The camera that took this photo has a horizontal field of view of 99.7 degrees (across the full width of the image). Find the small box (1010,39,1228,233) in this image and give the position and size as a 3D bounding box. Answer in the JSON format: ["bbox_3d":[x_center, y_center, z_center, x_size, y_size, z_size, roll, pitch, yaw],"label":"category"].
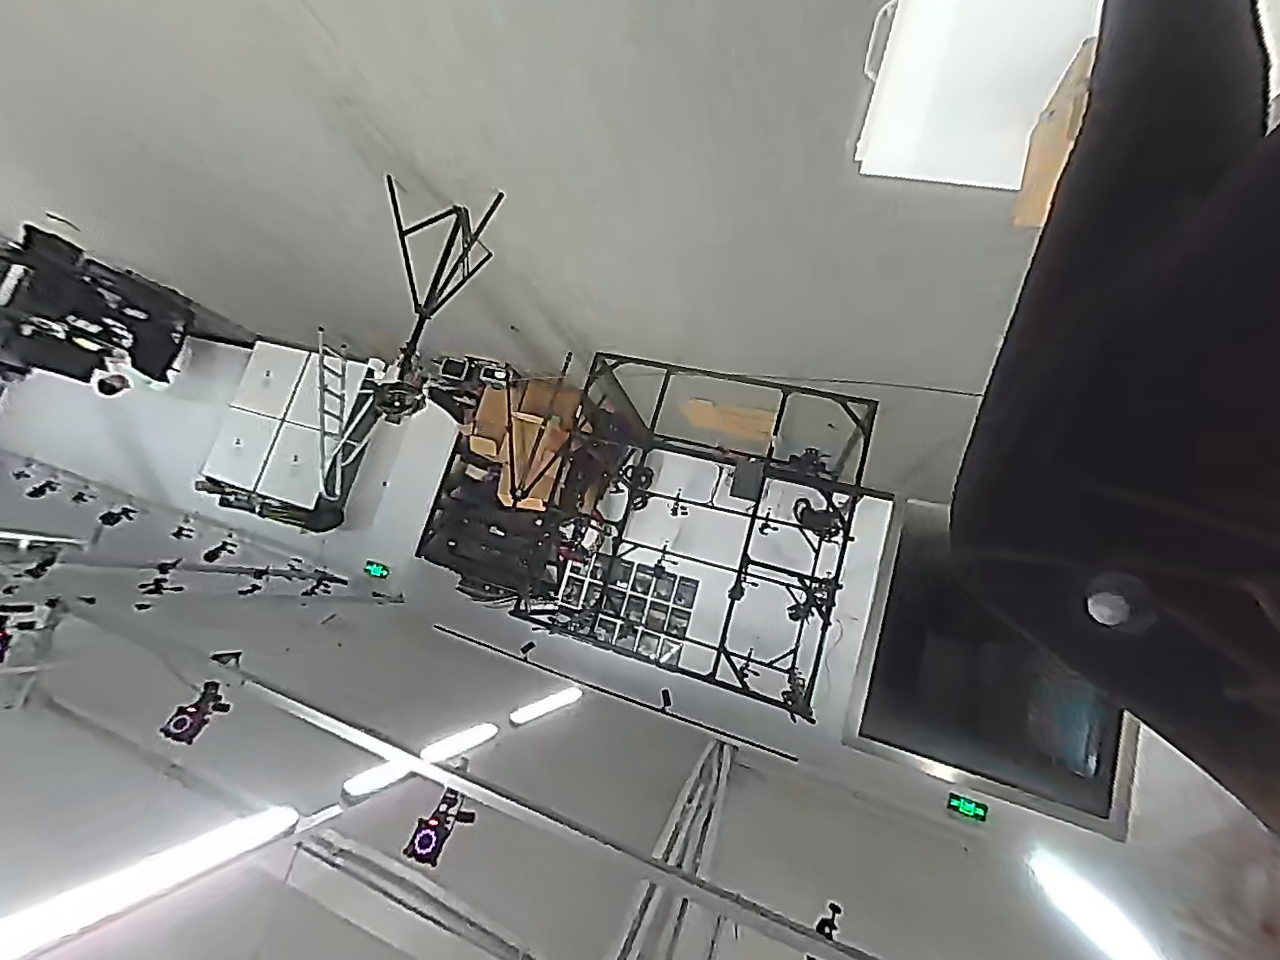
[{"bbox_3d":[0.675,-0.487,0.775,0.179,0.176,0.168,15,171,16],"label":"small box"}]
